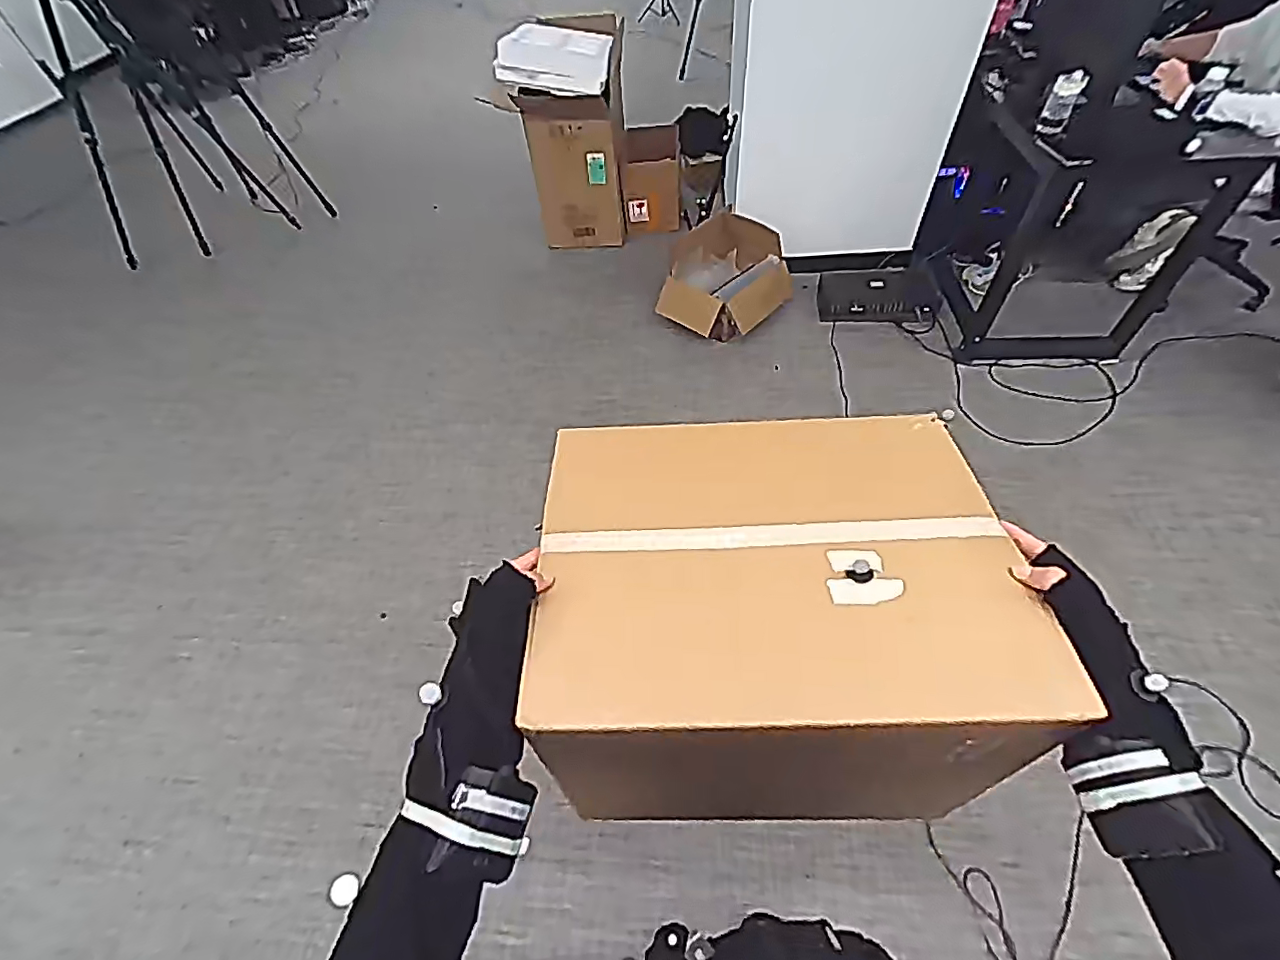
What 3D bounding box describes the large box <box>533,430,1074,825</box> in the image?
[{"bbox_3d":[0.122,0.167,0.602,0.408,0.320,0.320,-2,47,2],"label":"large box"}]
